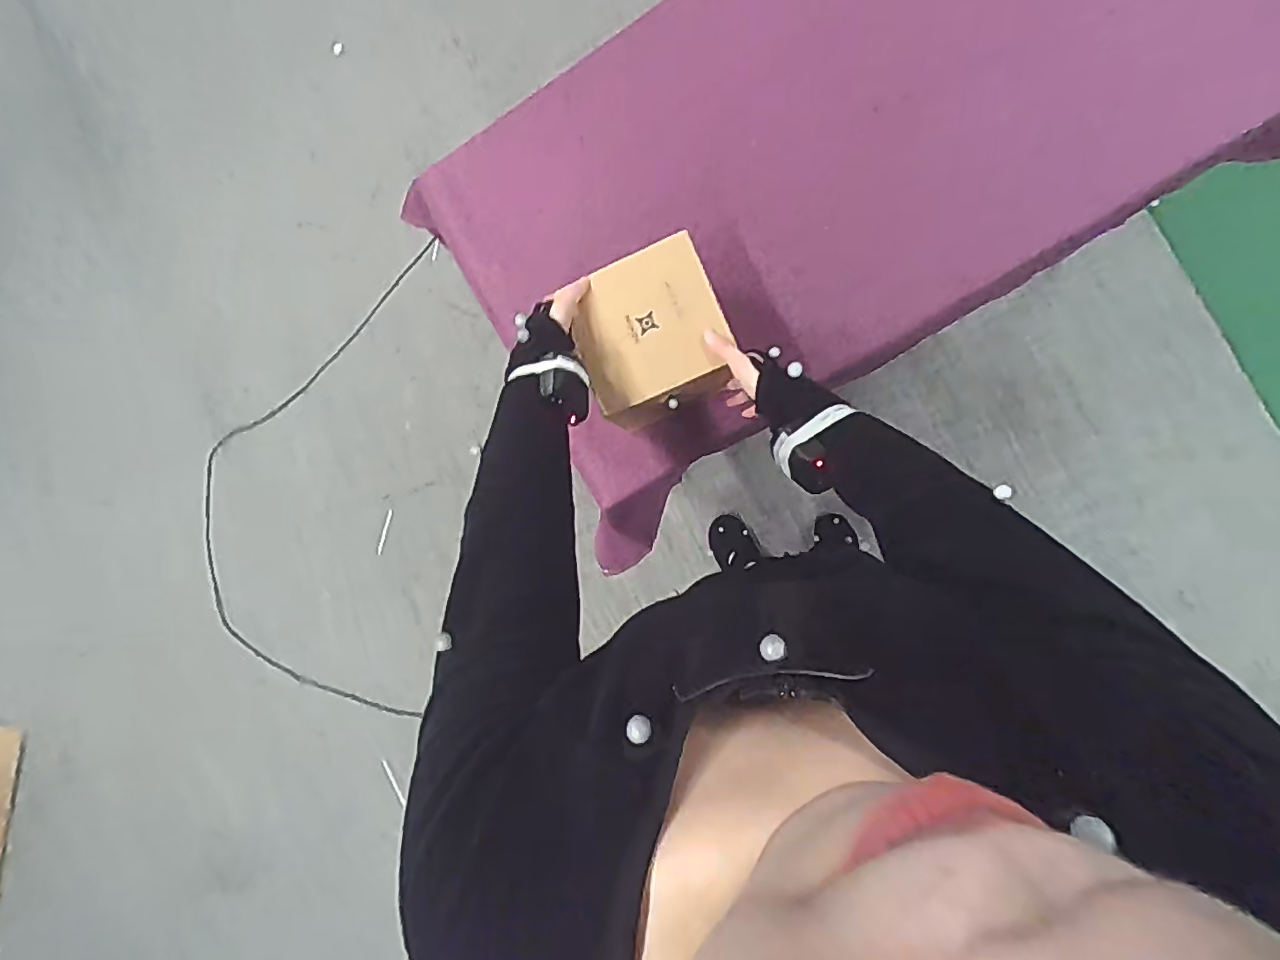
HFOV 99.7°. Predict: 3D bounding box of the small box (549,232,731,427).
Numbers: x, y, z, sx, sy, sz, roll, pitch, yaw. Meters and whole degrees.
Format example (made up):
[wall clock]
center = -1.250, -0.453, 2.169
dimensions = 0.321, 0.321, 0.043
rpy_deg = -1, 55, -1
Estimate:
[small box]
center = 0.010, -0.179, 0.707
dimensions = 0.179, 0.176, 0.168
rpy_deg = -23, 86, 8
